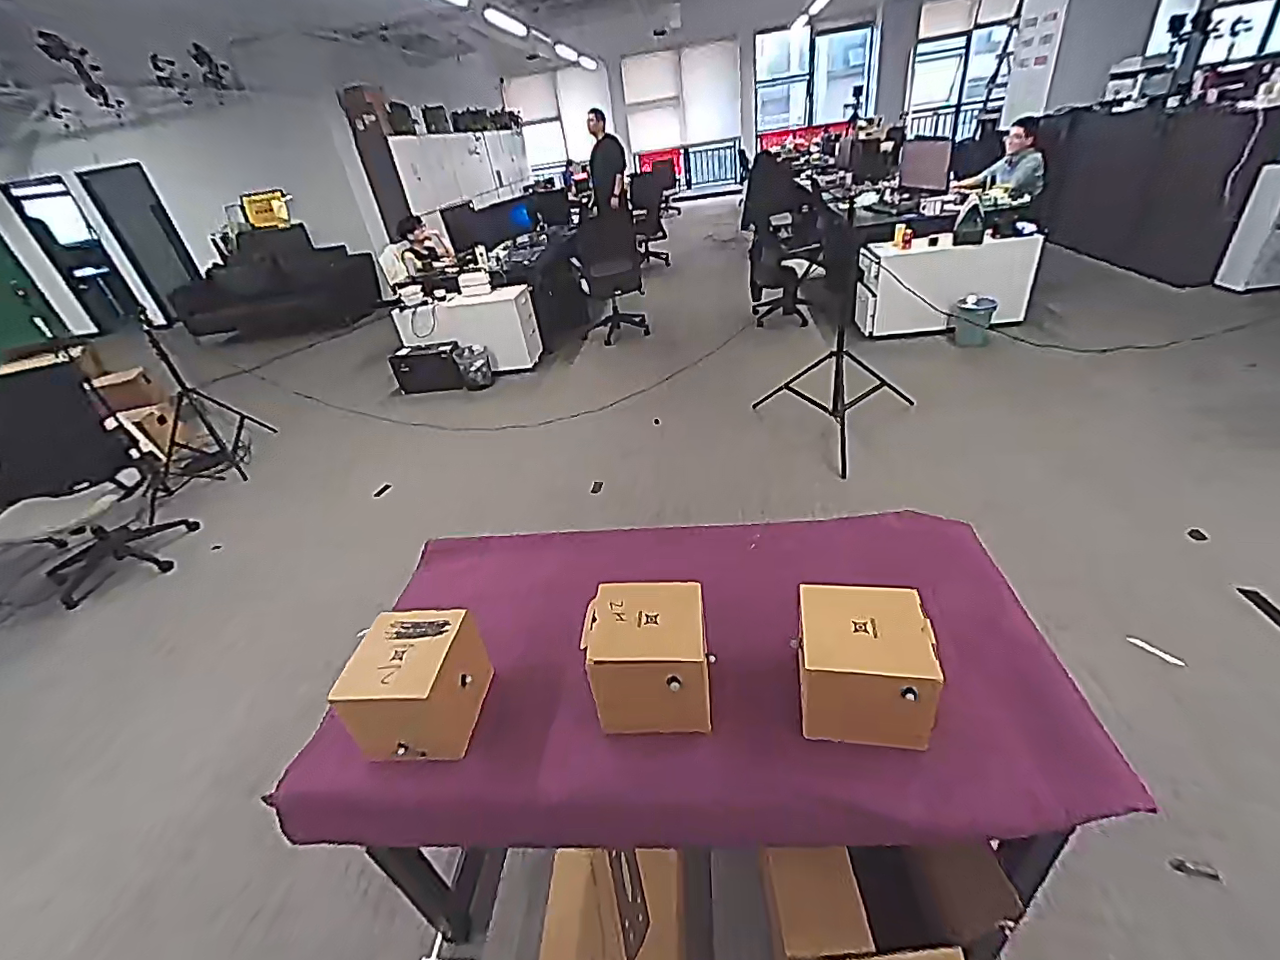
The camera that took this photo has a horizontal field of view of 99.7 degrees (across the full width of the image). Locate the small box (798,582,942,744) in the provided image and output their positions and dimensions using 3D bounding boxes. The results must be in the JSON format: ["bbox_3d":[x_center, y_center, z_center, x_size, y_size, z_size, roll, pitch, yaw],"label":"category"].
[{"bbox_3d":[0.334,0.276,0.824,0.179,0.176,0.168,-1,34,13],"label":"small box"}]

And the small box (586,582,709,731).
[{"bbox_3d":[0.022,0.287,0.883,0.179,0.176,0.168,-5,31,7],"label":"small box"}]
